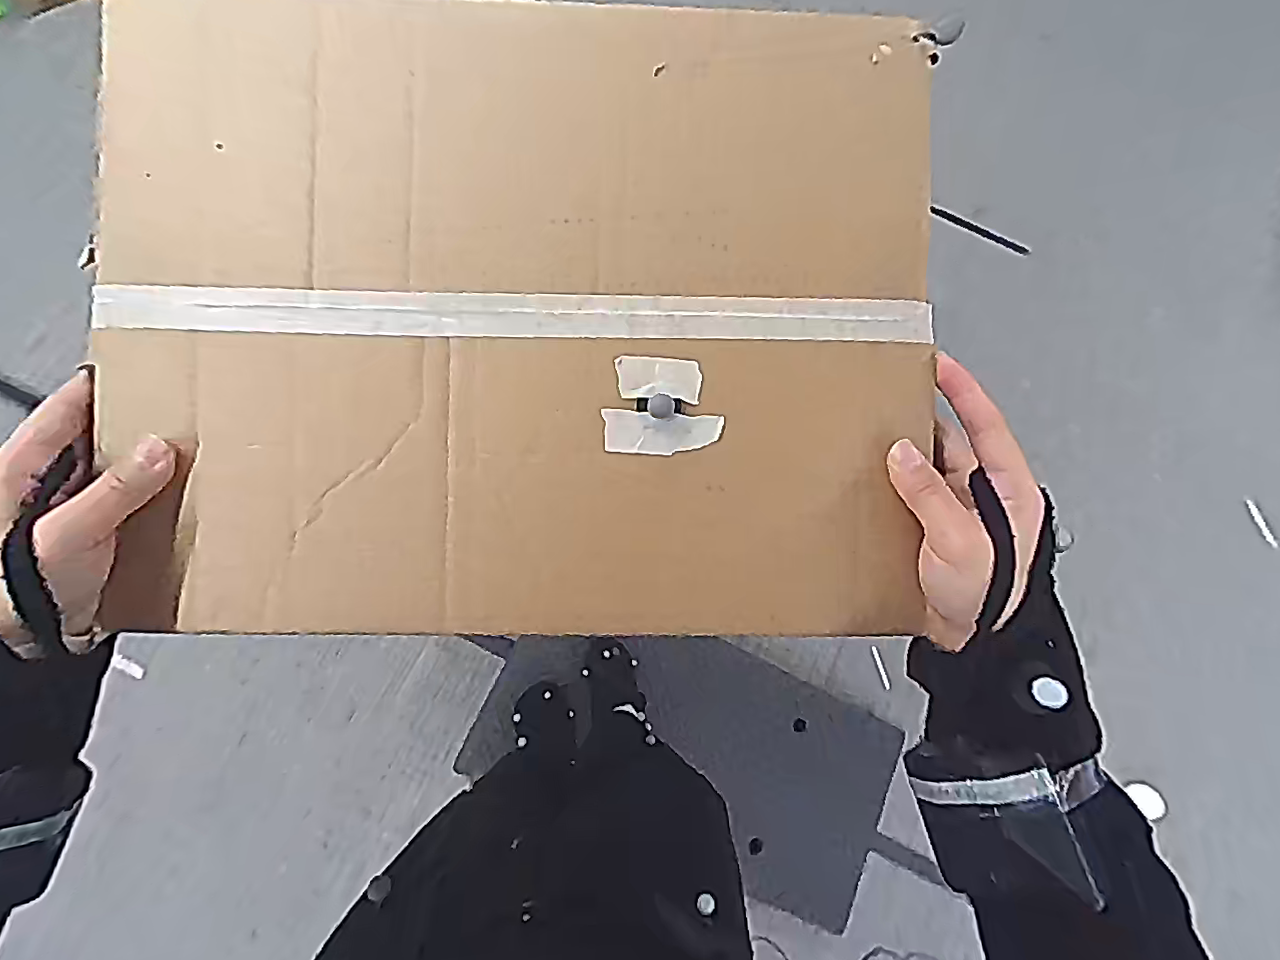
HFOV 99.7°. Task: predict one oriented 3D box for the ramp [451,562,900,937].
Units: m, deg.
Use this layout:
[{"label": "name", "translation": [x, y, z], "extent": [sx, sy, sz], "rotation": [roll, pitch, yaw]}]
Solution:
[{"label": "ramp", "translation": [0.139, 0.625, 1.251], "extent": [0.991, 0.206, 0.509], "rotation": [25, 74, 1]}]
